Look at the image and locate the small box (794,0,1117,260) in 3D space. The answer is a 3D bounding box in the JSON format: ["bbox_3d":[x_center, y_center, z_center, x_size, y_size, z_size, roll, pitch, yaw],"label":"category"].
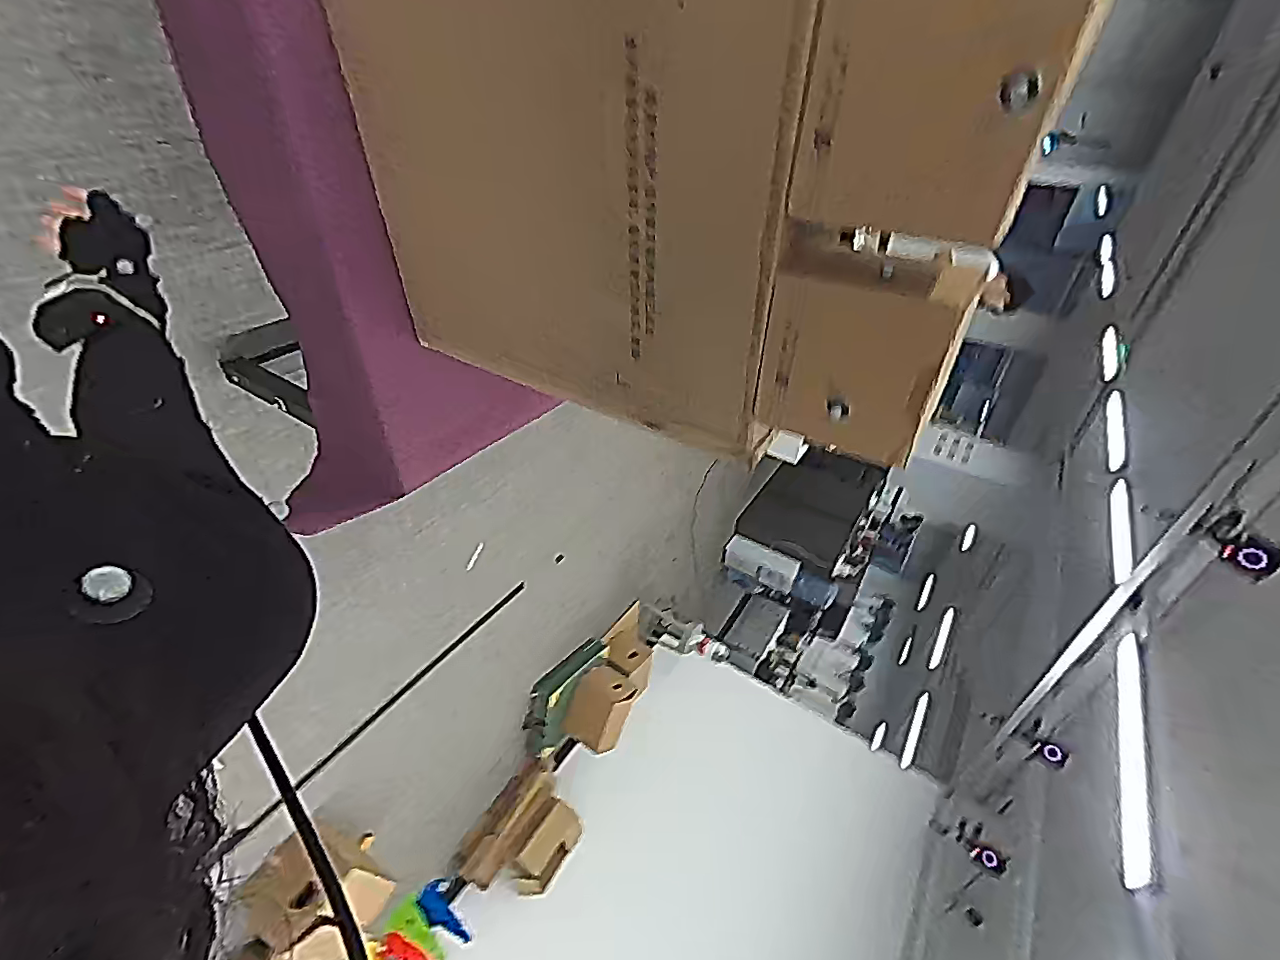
[{"bbox_3d":[0.249,-0.303,0.449,0.179,0.176,0.168,-44,148,-41],"label":"small box"}]

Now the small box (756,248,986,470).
[{"bbox_3d":[0.242,-0.140,0.585,0.179,0.176,0.168,-41,145,-44],"label":"small box"}]
